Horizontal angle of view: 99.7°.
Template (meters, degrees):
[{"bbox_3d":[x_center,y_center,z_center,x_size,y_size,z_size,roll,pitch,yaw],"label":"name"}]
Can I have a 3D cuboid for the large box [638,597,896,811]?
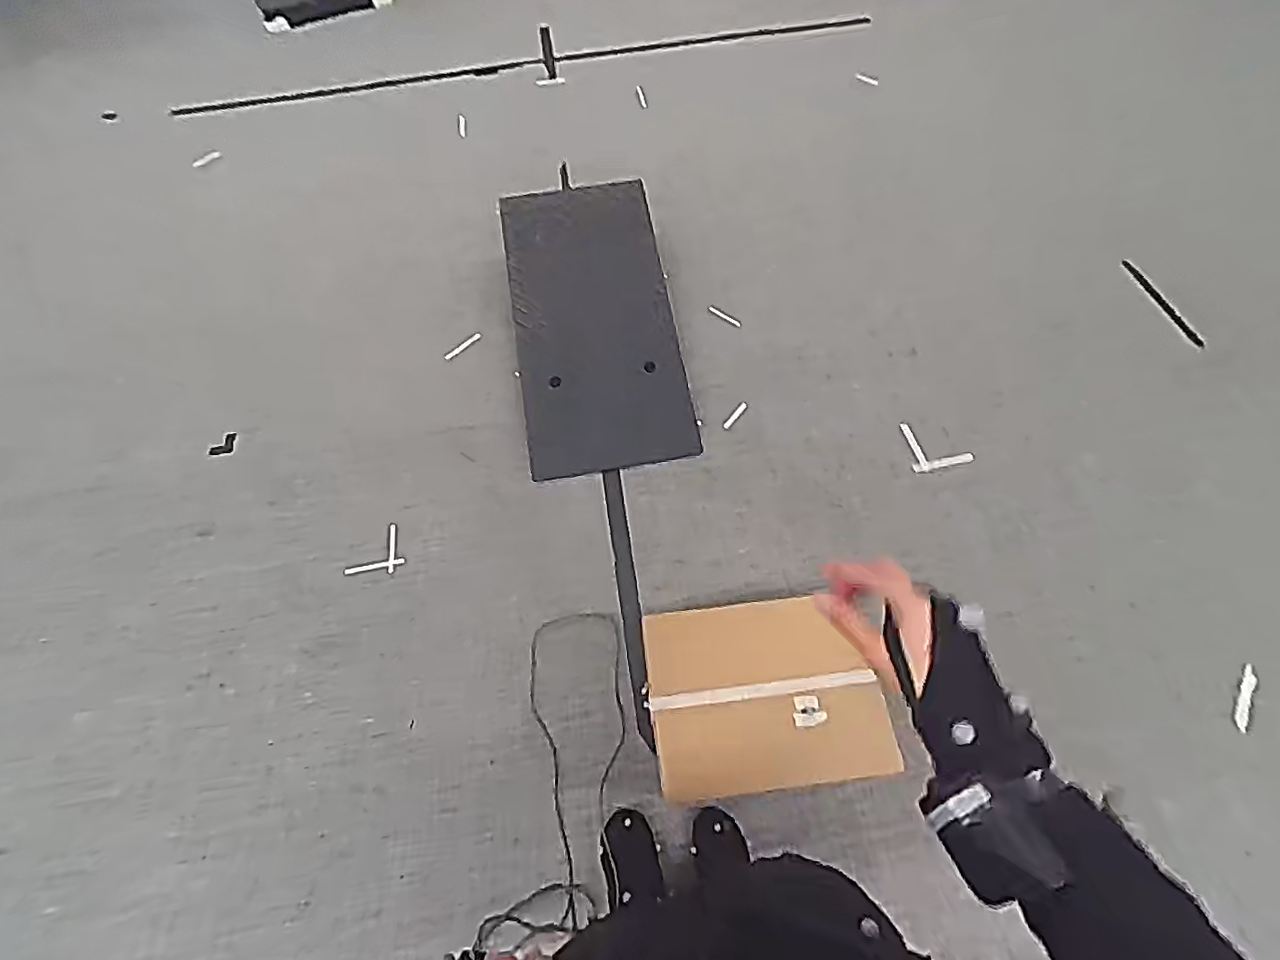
[{"bbox_3d":[0.216,0.455,1.095,0.408,0.320,0.320,-7,62,-3],"label":"large box"}]

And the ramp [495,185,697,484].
[{"bbox_3d":[-0.158,-0.494,1.680,0.509,0.206,0.991,-11,63,-5],"label":"ramp"}]
